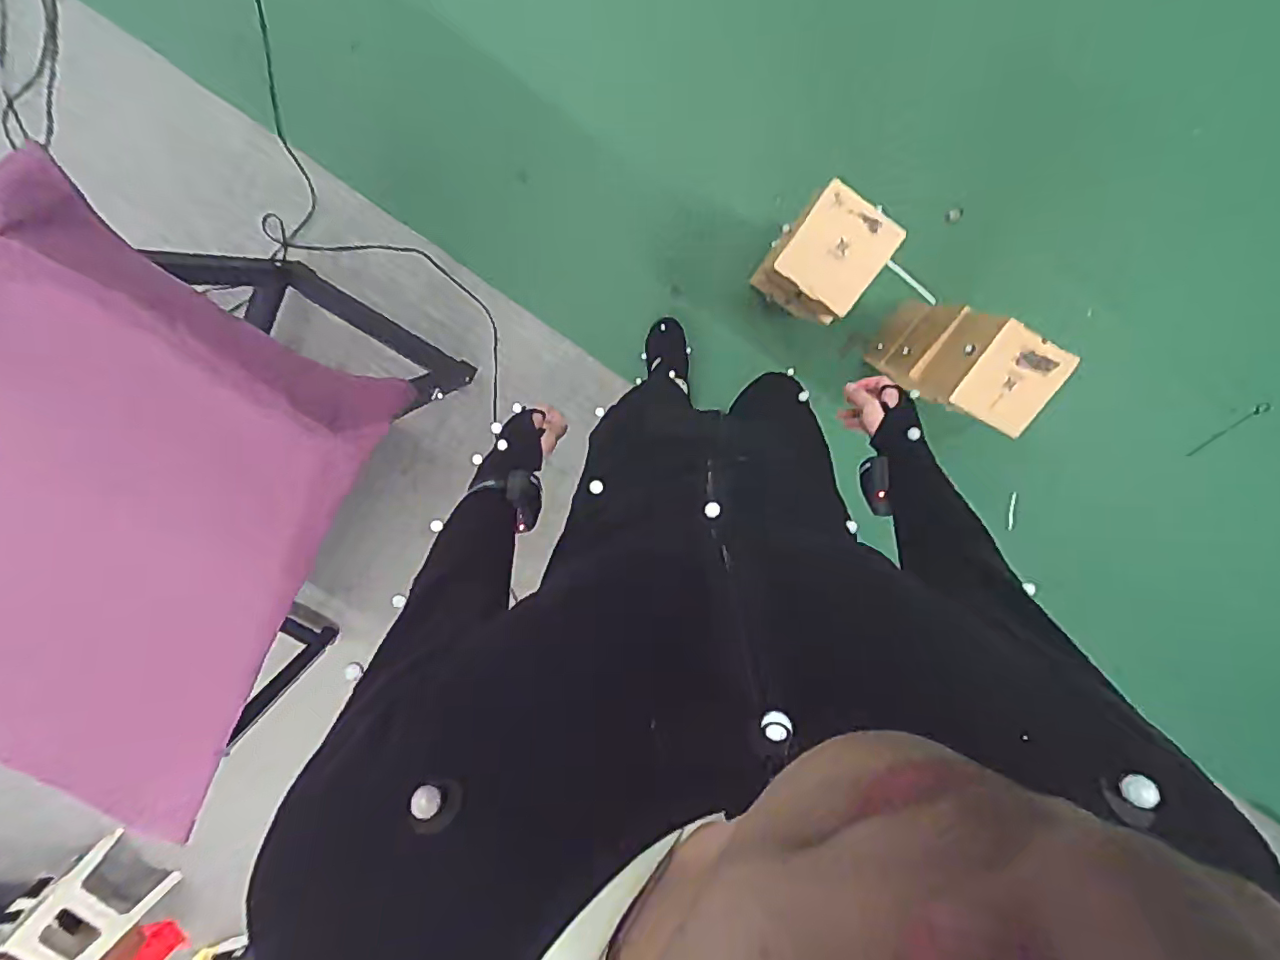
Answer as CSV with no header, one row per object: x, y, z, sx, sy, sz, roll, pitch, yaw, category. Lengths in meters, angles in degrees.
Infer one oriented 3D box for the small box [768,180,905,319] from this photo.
0.362,-0.433,1.040,0.168,0.176,0.179,34,109,-6,small box

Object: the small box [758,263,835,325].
0.383,-0.464,1.201,0.179,0.176,0.168,32,108,-7,small box

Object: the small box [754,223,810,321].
0.401,-0.520,1.355,0.168,0.176,0.179,33,108,-7,small box

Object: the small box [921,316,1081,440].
0.710,-0.213,1.090,0.168,0.176,0.179,27,112,-6,small box

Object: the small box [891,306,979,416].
0.709,-0.278,1.241,0.168,0.176,0.179,33,109,-8,small box
